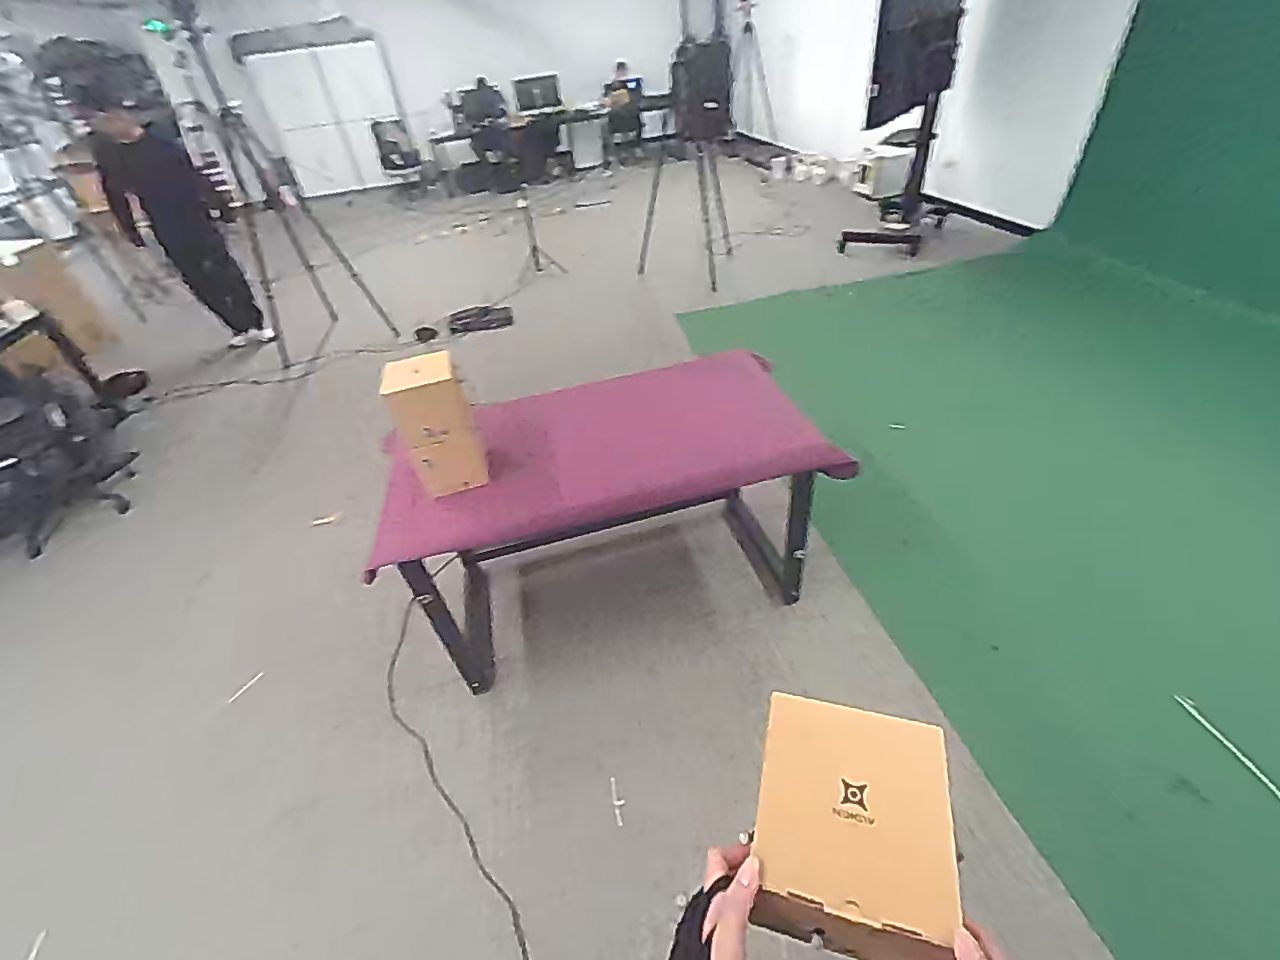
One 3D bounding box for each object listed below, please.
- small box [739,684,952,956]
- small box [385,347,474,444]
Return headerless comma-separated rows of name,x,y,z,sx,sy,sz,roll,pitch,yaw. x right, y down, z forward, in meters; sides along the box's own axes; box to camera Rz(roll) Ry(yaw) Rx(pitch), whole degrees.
small box,0.195,0.344,0.552,0.168,0.176,0.179,7,46,15
small box,-0.535,-0.218,1.393,0.168,0.176,0.179,-15,40,-9
